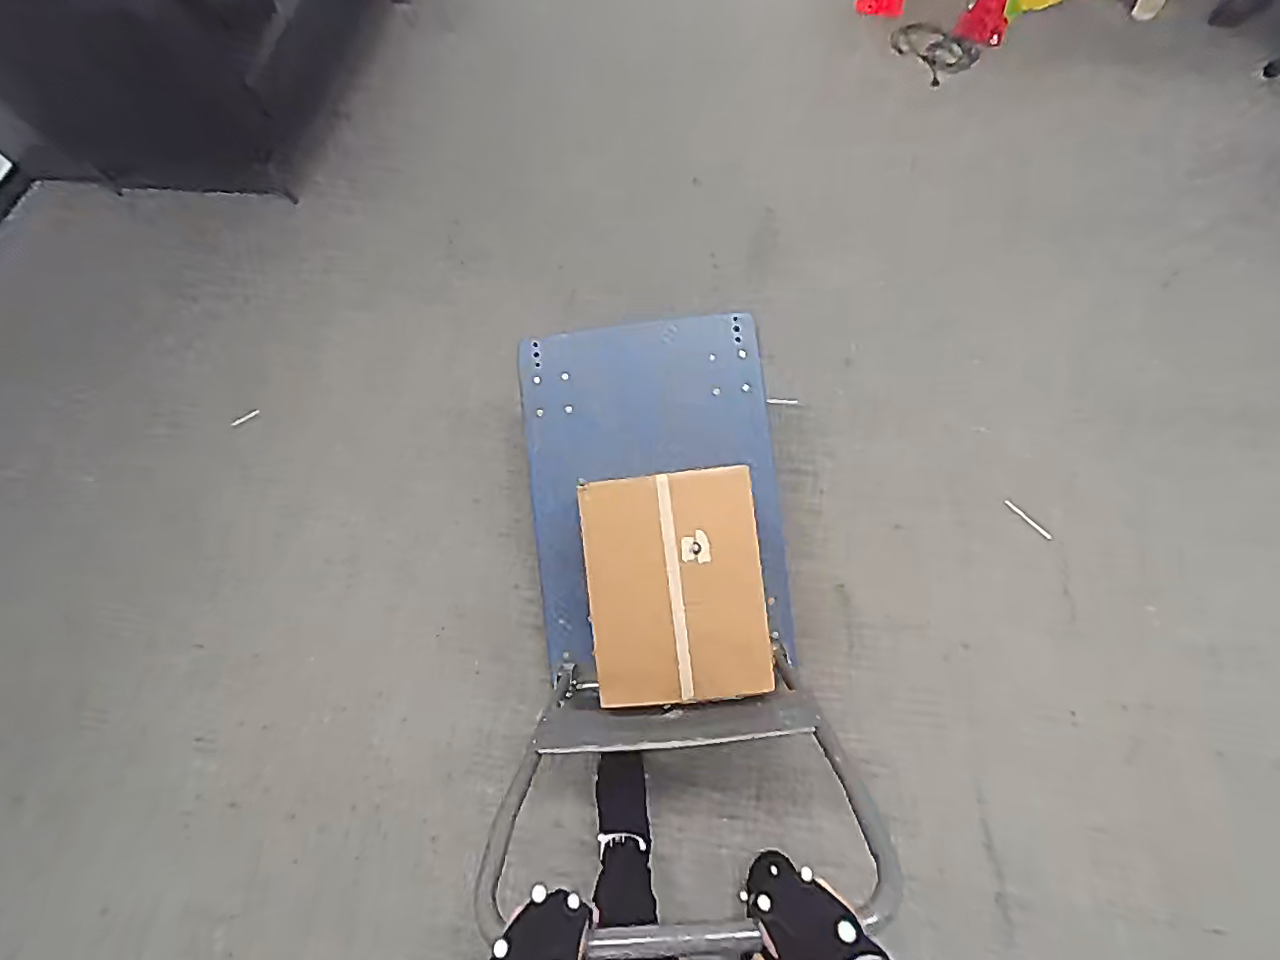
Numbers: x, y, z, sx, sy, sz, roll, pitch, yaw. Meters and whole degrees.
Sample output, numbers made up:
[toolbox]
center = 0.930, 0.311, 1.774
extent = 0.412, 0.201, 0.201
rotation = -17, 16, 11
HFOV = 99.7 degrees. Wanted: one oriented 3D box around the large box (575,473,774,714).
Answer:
[large box]
center = 0.069, 0.213, 1.121
extent = 0.320, 0.320, 0.408
rotation = -8, 86, 2
